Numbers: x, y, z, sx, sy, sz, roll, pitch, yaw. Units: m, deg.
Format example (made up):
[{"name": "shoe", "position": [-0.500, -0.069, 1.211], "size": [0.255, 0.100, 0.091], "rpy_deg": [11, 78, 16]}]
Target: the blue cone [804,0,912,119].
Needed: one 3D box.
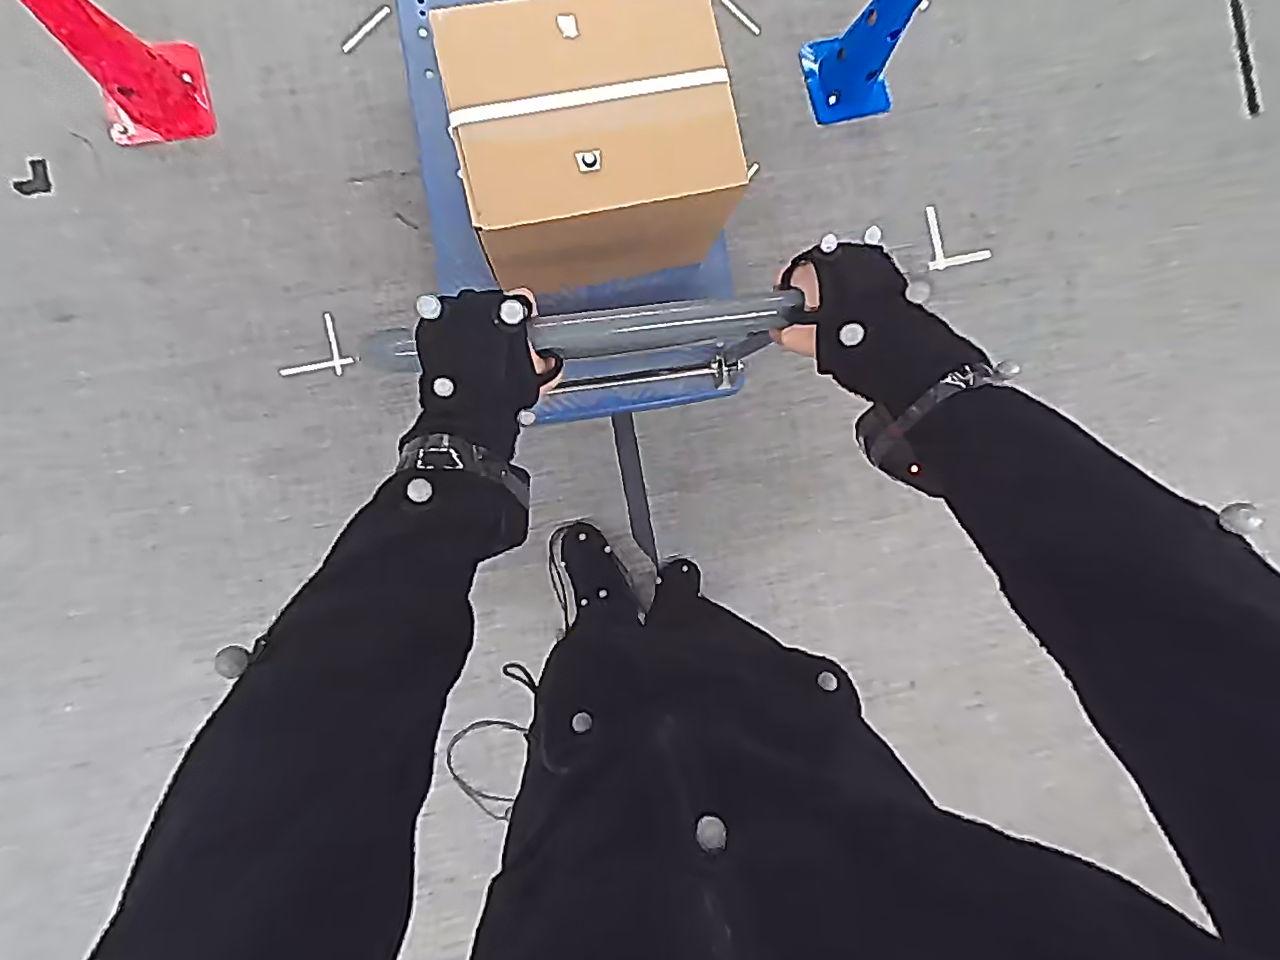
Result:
[{"name": "blue cone", "position": [0.524, -0.985, 1.155], "size": [0.193, 0.380, 0.192], "rpy_deg": [-15, 91, -7]}]
